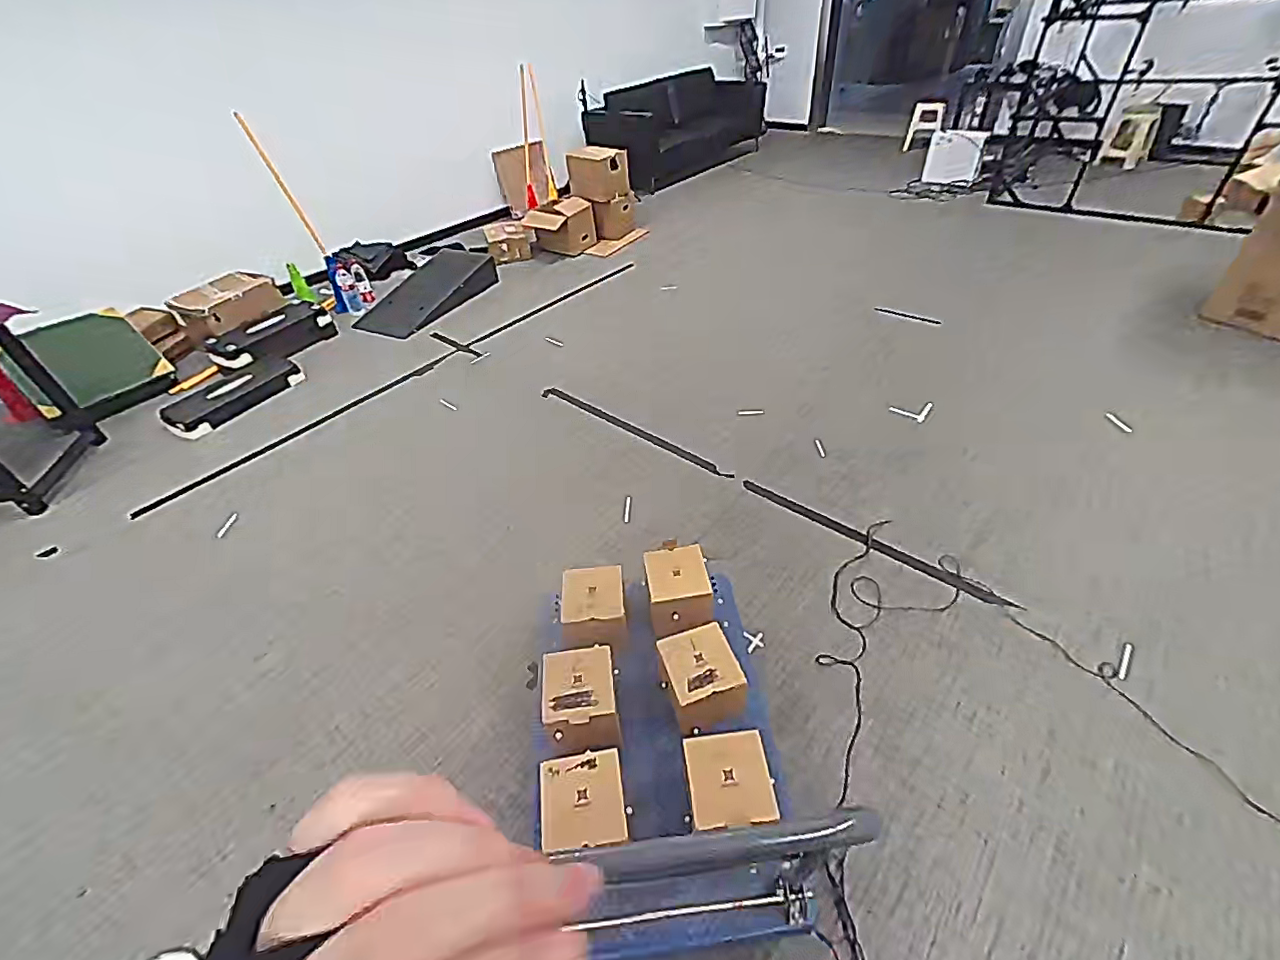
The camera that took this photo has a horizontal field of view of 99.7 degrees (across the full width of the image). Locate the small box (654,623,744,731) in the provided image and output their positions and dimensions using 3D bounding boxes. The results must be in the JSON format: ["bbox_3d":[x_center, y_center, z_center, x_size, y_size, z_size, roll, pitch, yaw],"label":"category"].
[{"bbox_3d":[0.144,0.493,1.338,0.168,0.176,0.179,-15,41,-11],"label":"small box"}]

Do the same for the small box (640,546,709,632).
[{"bbox_3d":[0.098,0.317,1.541,0.168,0.176,0.179,-9,42,-4],"label":"small box"}]

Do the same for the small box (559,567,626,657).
[{"bbox_3d":[-0.128,0.366,1.503,0.168,0.176,0.179,-6,43,-1],"label":"small box"}]

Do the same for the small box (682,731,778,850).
[{"bbox_3d":[0.184,0.663,1.147,0.168,0.176,0.179,-6,41,-2],"label":"small box"}]

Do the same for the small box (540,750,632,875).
[{"bbox_3d":[-0.112,0.700,1.132,0.168,0.176,0.179,-8,42,-5],"label":"small box"}]
